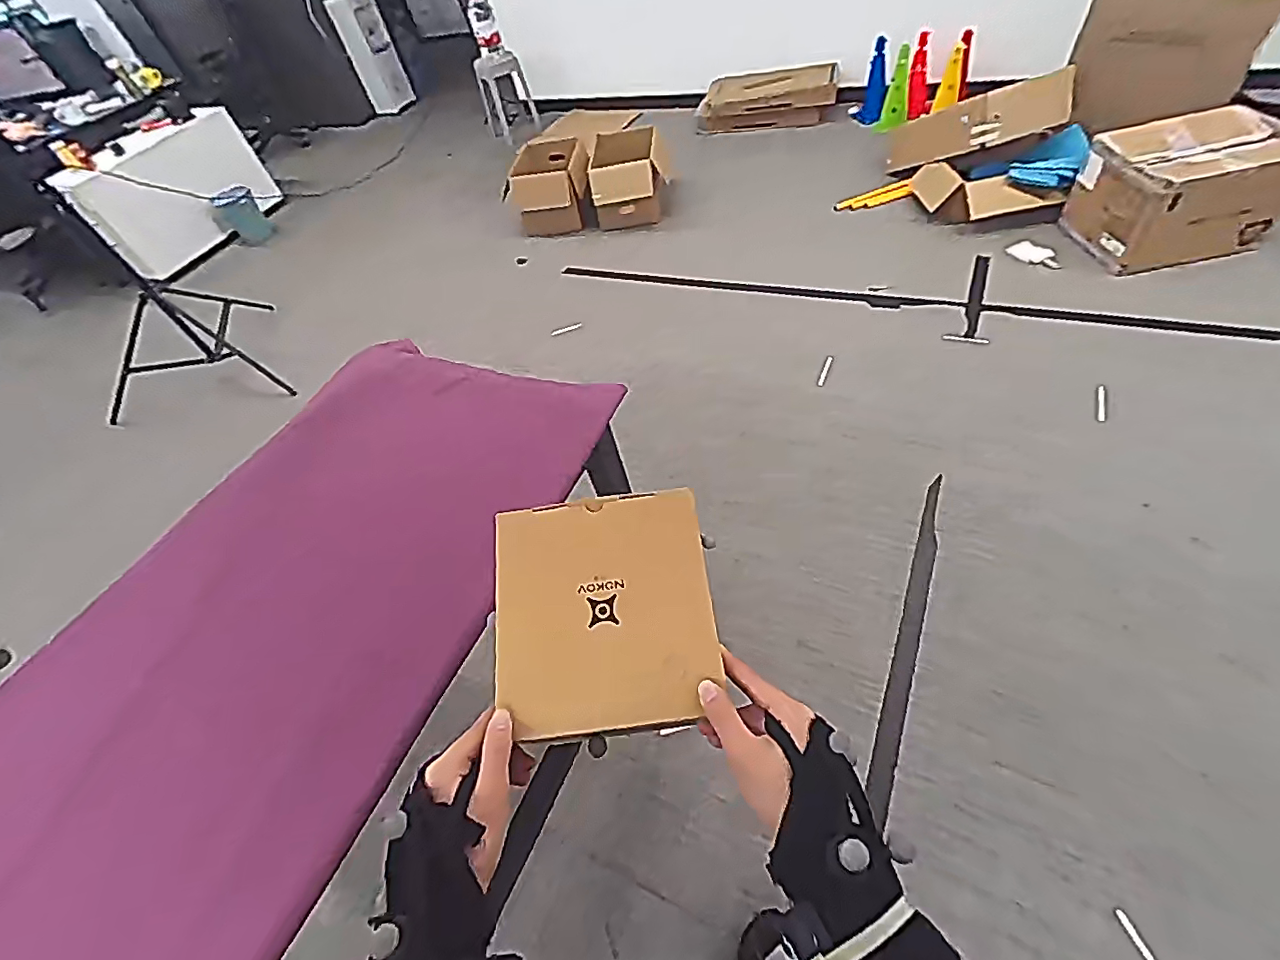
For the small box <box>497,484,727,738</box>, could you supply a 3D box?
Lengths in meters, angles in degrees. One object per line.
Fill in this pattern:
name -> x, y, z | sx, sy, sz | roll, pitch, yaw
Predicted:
small box -> -0.020, 0.126, 0.481 | 0.168, 0.176, 0.179 | -8, 62, 1
